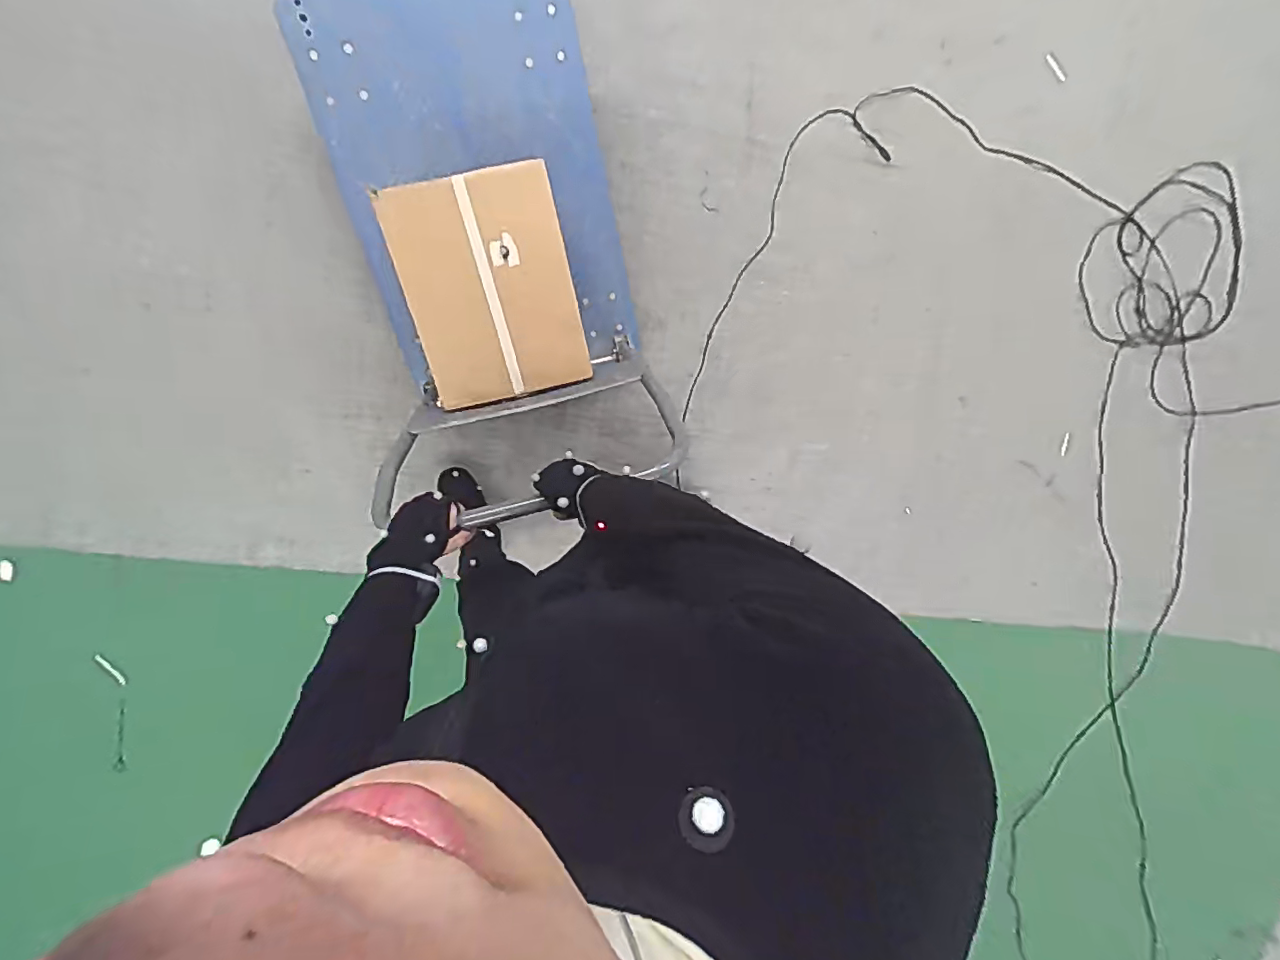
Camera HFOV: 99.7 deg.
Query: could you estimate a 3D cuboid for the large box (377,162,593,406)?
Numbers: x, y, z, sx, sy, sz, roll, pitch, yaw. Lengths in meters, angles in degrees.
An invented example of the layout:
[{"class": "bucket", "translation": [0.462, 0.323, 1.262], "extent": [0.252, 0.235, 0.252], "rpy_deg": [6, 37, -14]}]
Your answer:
[{"class": "large box", "translation": [-0.305, -0.414, 1.181], "extent": [0.320, 0.320, 0.408], "rpy_deg": [-13, 112, -5]}]
